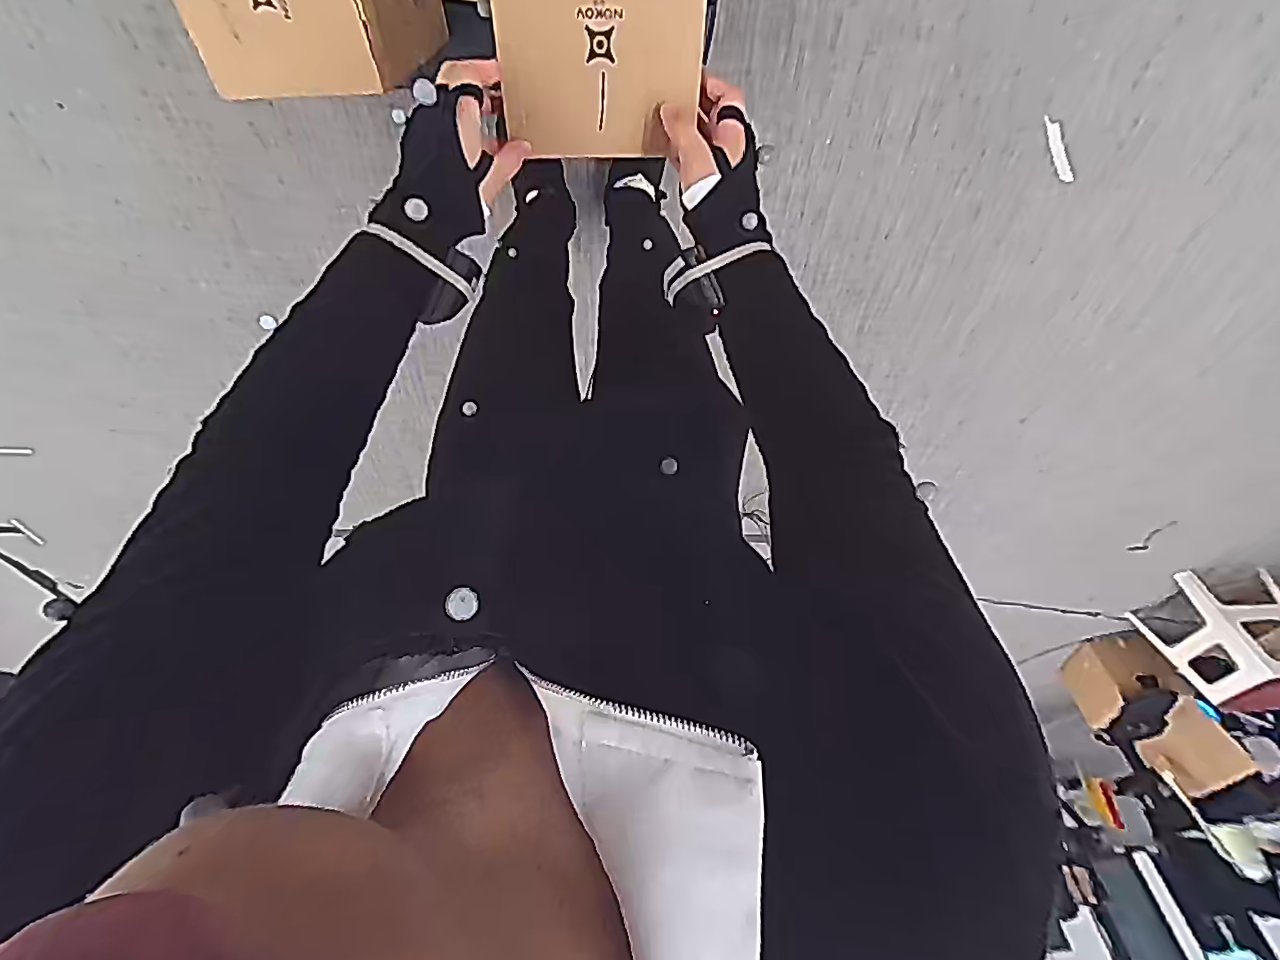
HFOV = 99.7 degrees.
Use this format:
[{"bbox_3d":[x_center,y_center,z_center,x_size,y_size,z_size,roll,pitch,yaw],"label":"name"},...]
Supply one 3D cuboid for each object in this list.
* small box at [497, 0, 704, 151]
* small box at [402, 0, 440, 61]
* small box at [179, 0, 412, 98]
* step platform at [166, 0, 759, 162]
[{"bbox_3d":[-0.042,-0.413,0.490,0.168,0.176,0.179,-4,132,-6],"label":"small box"},{"bbox_3d":[-0.365,-0.645,0.682,0.179,0.176,0.168,-2,137,0],"label":"small box"},{"bbox_3d":[-0.360,-0.525,0.572,0.179,0.176,0.168,-2,136,0],"label":"small box"},{"bbox_3d":[-0.206,-0.597,0.690,0.684,0.204,0.286,-1,137,-3],"label":"step platform"}]
